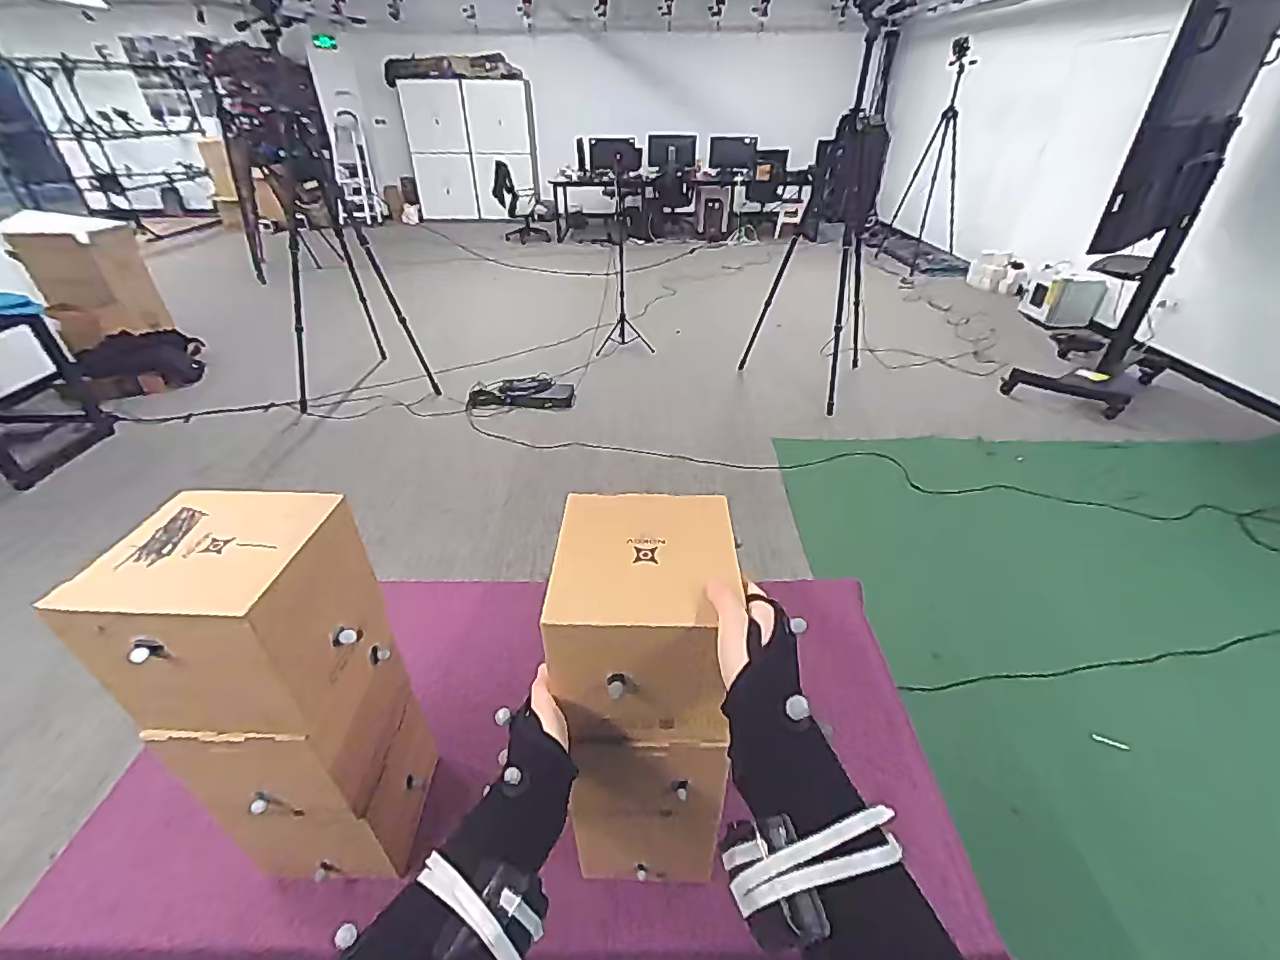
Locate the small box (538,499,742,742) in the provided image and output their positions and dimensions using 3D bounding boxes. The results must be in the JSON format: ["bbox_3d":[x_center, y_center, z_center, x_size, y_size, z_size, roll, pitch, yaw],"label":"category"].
[{"bbox_3d":[0.003,0.136,0.536,0.168,0.176,0.179,1,34,1],"label":"small box"}]

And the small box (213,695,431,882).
[{"bbox_3d":[-0.397,0.406,0.719,0.179,0.176,0.168,0,34,-1],"label":"small box"}]

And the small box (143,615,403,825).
[{"bbox_3d":[-0.397,0.267,0.630,0.168,0.176,0.179,0,35,1],"label":"small box"}]

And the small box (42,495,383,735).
[{"bbox_3d":[-0.391,0.131,0.537,0.179,0.176,0.168,2,34,1],"label":"small box"}]

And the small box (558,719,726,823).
[{"bbox_3d":[0.005,0.271,0.627,0.168,0.176,0.179,1,34,0],"label":"small box"}]
